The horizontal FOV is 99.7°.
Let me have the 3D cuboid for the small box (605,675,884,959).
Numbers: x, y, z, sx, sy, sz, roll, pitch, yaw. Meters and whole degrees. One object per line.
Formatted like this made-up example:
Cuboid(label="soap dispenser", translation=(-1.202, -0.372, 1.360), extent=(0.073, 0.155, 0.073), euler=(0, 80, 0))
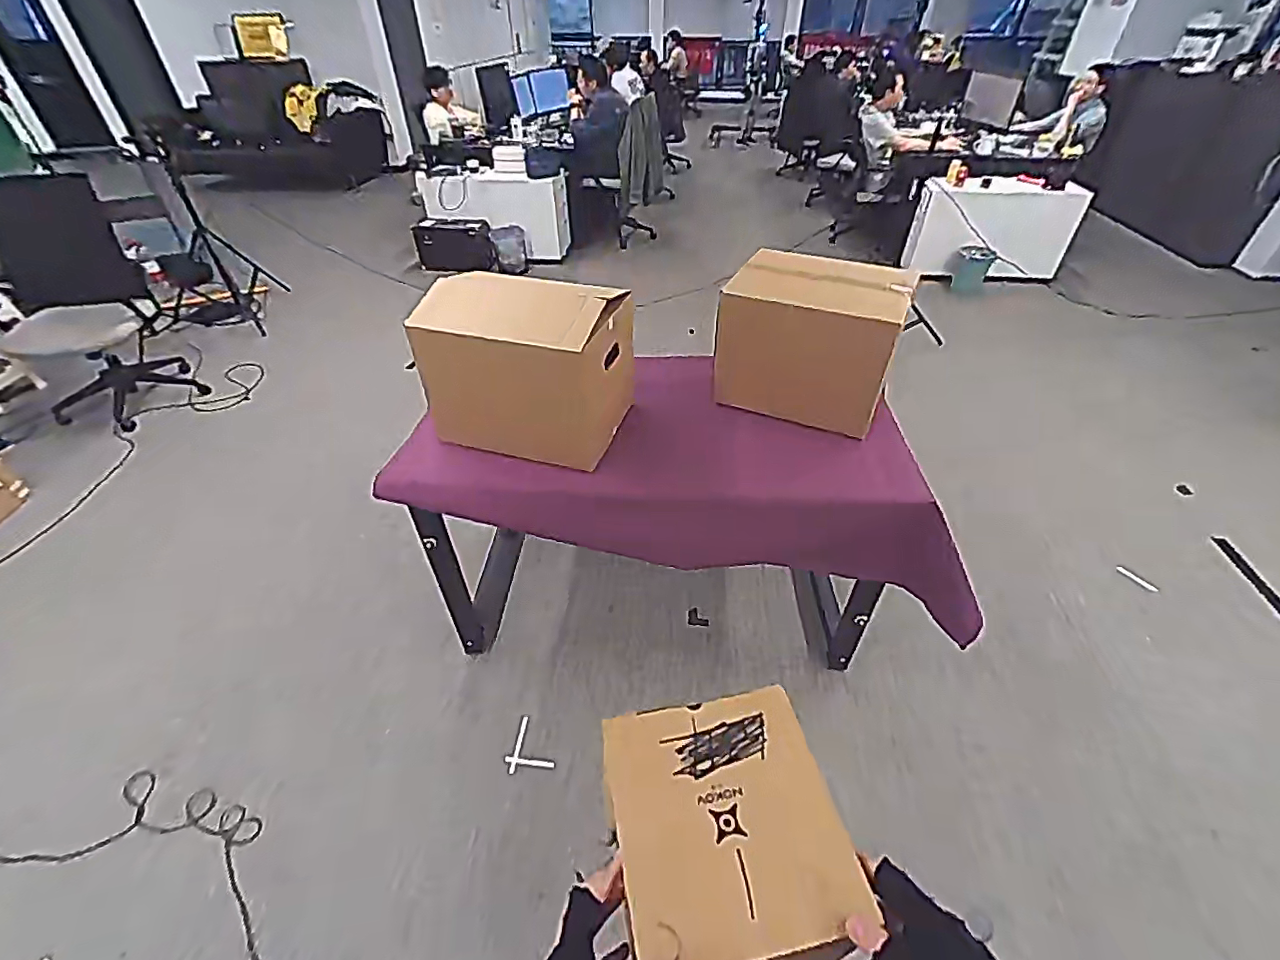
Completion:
Cuboid(label="small box", translation=(0.063, 0.297, 0.453), extent=(0.168, 0.176, 0.179), euler=(-8, 41, -9))
